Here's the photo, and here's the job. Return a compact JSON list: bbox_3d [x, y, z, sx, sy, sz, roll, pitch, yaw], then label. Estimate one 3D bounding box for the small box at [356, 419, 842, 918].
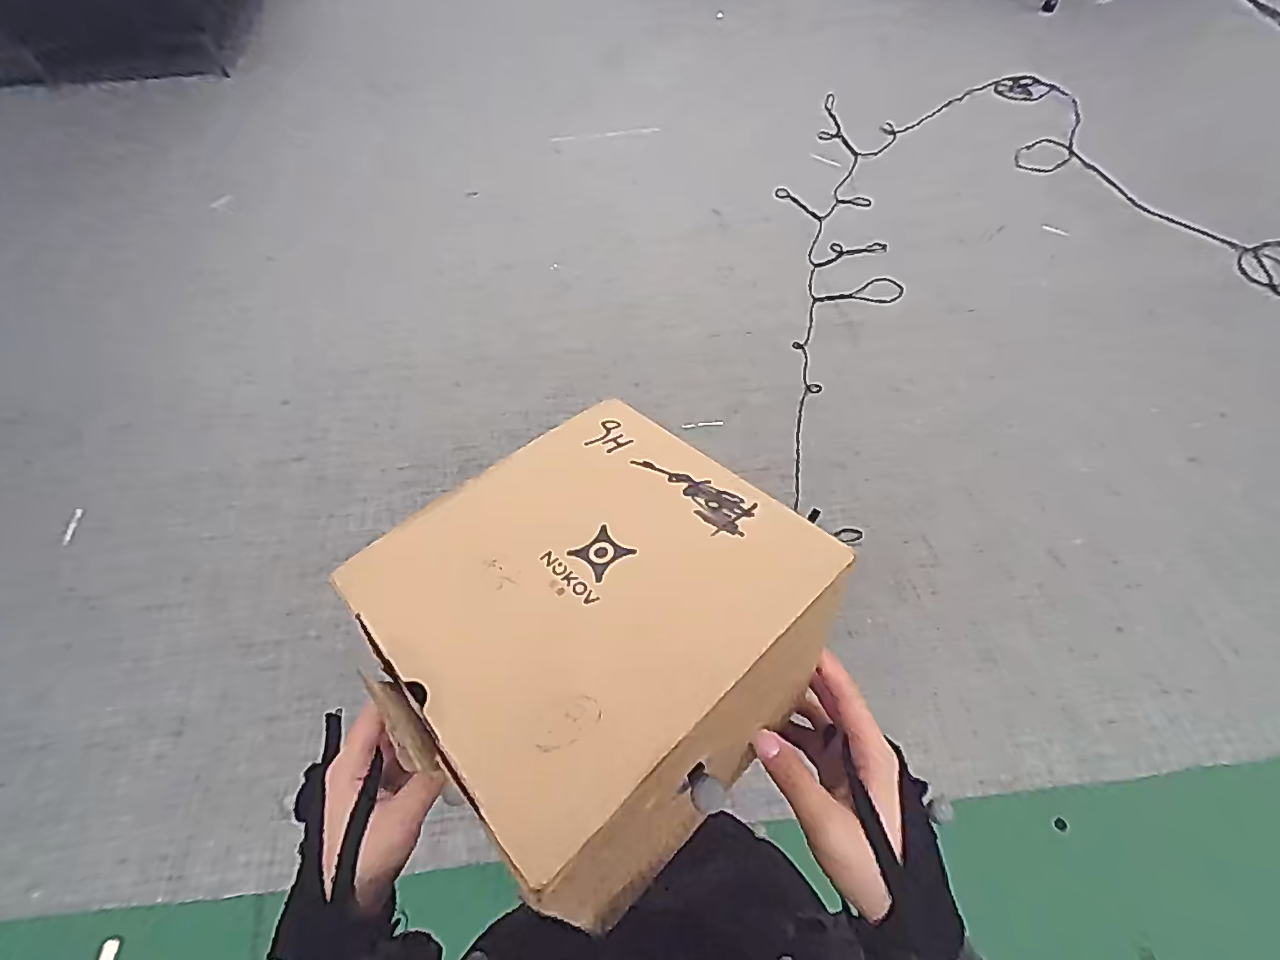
[{"bbox_3d":[-0.015,0.102,0.310,0.179,0.176,0.168,-36,53,-26],"label":"small box"}]
